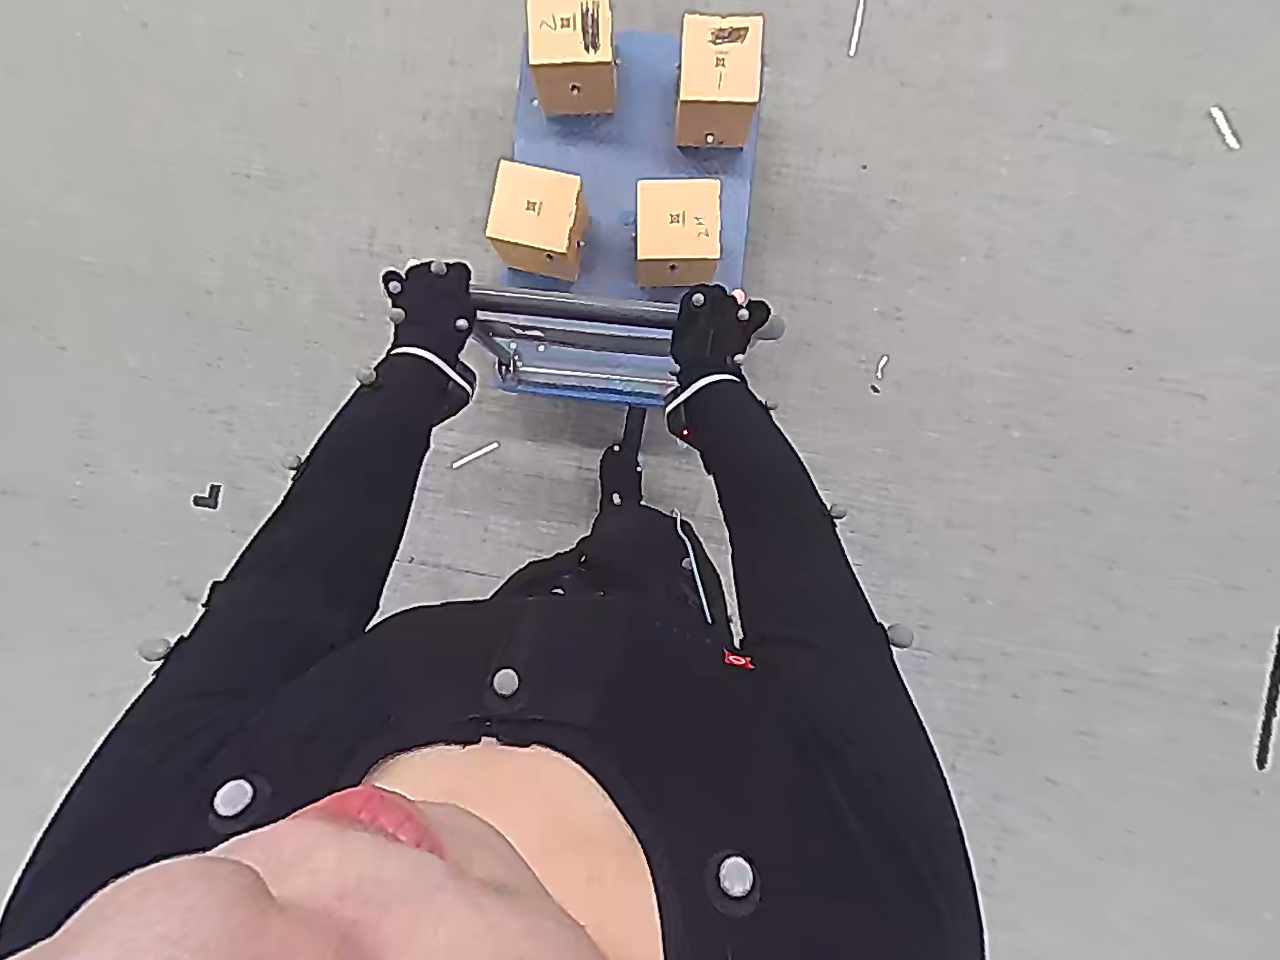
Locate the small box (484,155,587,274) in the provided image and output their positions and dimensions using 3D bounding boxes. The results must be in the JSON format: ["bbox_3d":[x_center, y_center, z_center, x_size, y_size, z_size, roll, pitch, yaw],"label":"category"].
[{"bbox_3d":[-0.223,-0.578,1.200,0.179,0.176,0.168,12,91,-1],"label":"small box"}]

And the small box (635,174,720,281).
[{"bbox_3d":[0.080,-0.549,1.195,0.179,0.176,0.168,0,92,1],"label":"small box"}]

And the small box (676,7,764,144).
[{"bbox_3d":[0.168,-0.877,1.184,0.168,0.176,0.179,3,93,1],"label":"small box"}]
